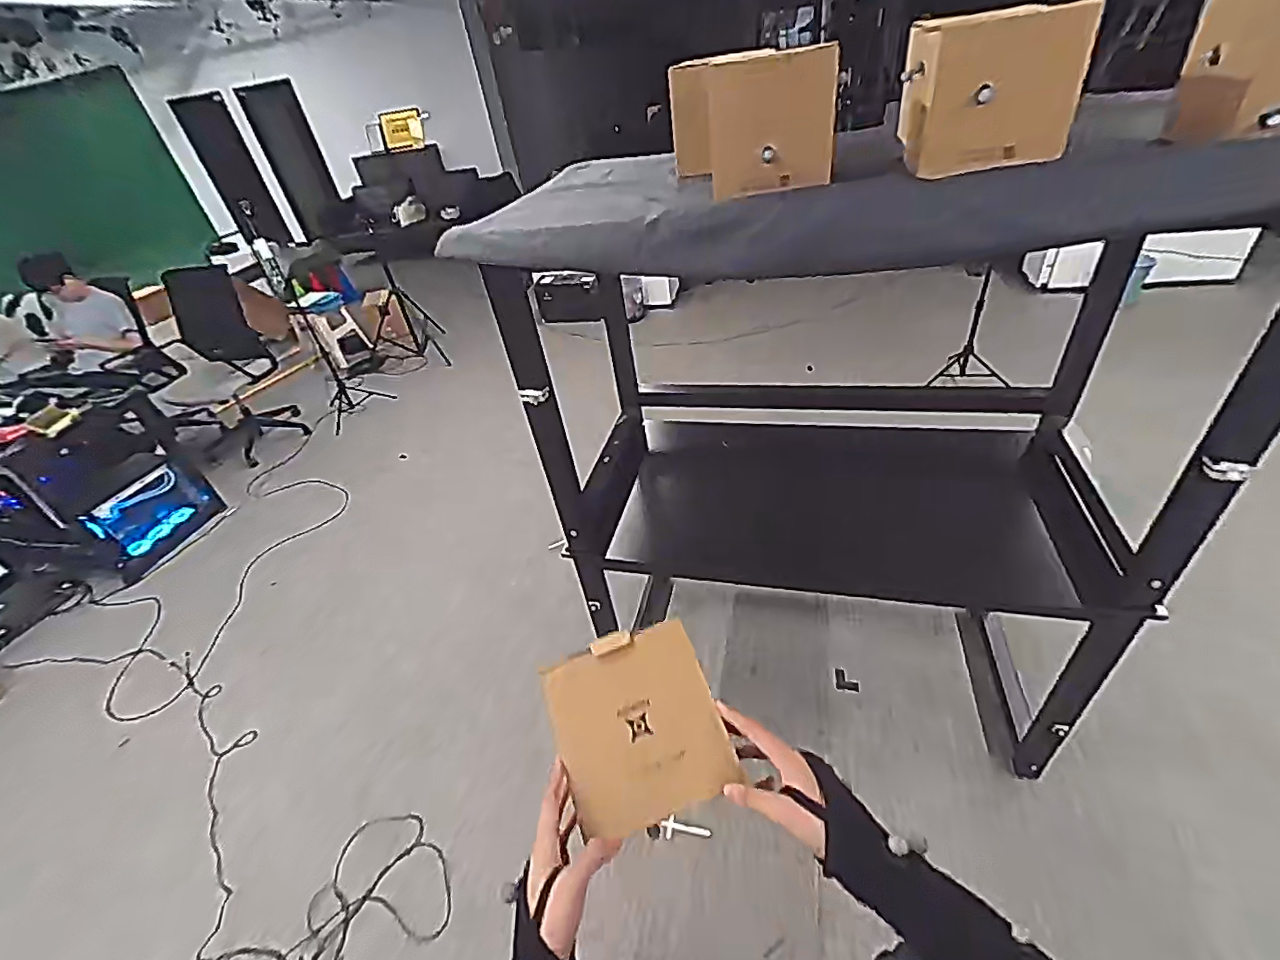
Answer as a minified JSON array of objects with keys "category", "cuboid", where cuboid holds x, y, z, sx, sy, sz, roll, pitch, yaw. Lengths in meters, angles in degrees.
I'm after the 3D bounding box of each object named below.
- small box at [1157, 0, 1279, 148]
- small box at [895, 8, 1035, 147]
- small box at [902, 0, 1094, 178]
[{"category":"small box","cuboid":[0.758,-0.491,0.621,0.168,0.176,0.179,4,36,19]},{"category":"small box","cuboid":[0.541,-0.674,0.918,0.168,0.176,0.179,2,38,16]},{"category":"small box","cuboid":[0.463,-0.519,0.733,0.168,0.176,0.179,3,37,16]}]
